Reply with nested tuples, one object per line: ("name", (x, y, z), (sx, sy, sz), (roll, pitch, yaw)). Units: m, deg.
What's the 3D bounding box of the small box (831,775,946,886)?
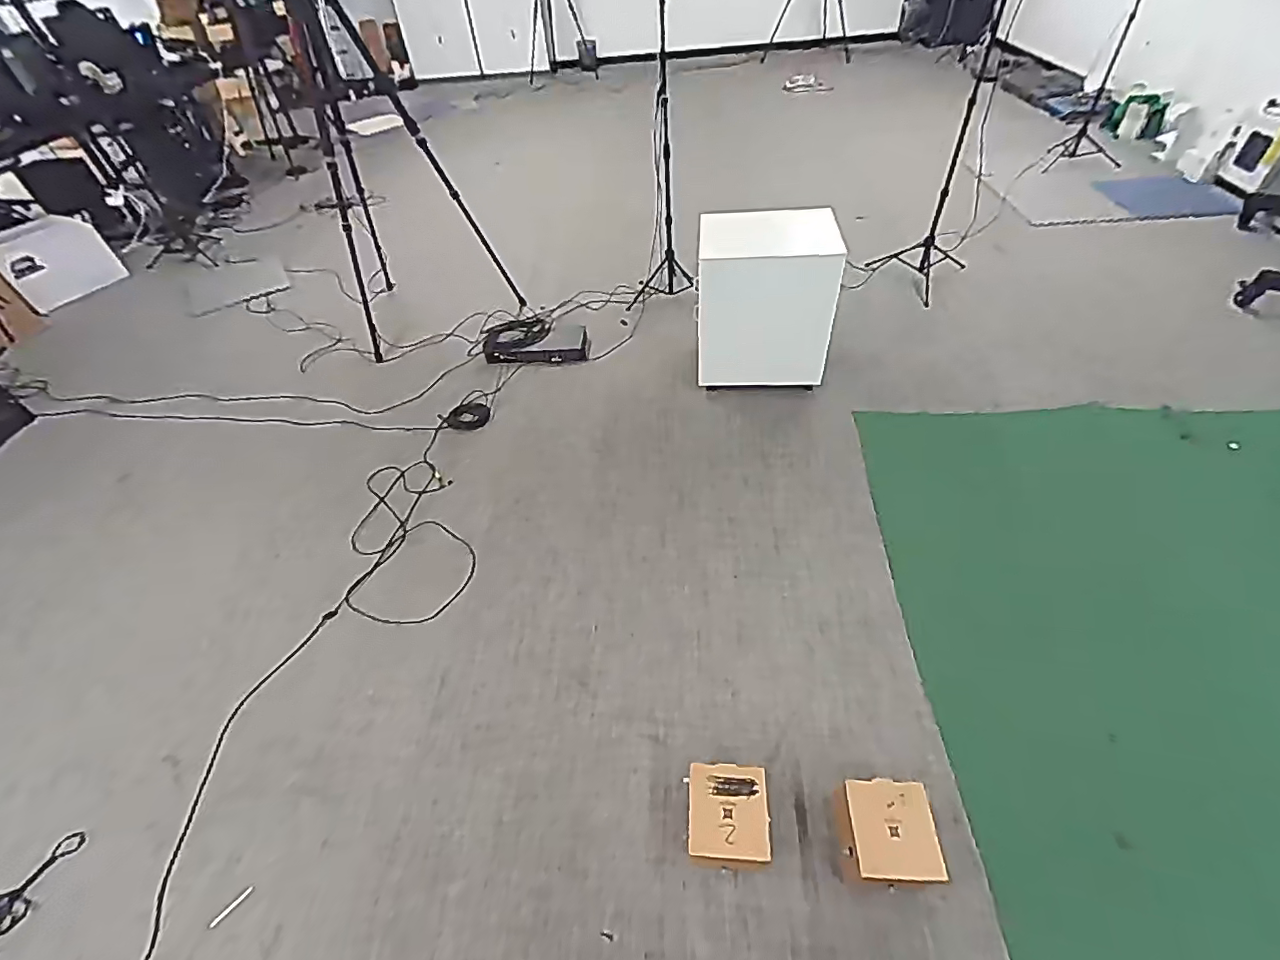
("small box", (0.519, 0.752, 1.156), (0.168, 0.176, 0.179), (0, 48, 5))
